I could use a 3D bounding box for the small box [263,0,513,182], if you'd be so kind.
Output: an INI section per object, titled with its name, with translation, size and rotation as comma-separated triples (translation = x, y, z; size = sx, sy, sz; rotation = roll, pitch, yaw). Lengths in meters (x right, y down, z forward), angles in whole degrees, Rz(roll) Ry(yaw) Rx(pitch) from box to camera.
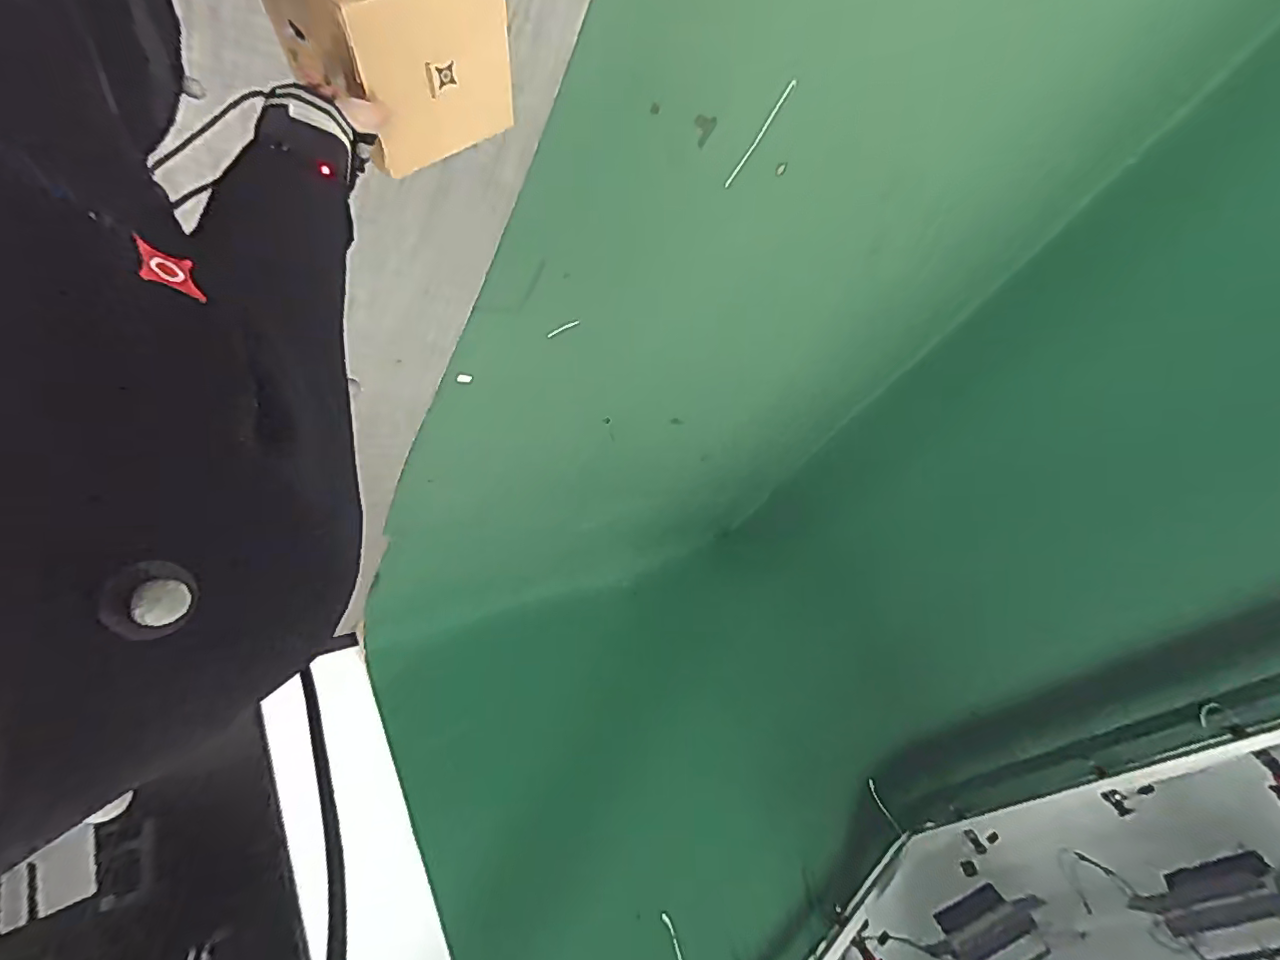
[small box]
translation = -0.259, -0.467, 0.567
size = 0.179, 0.176, 0.168
rotation = -41, 169, -22
